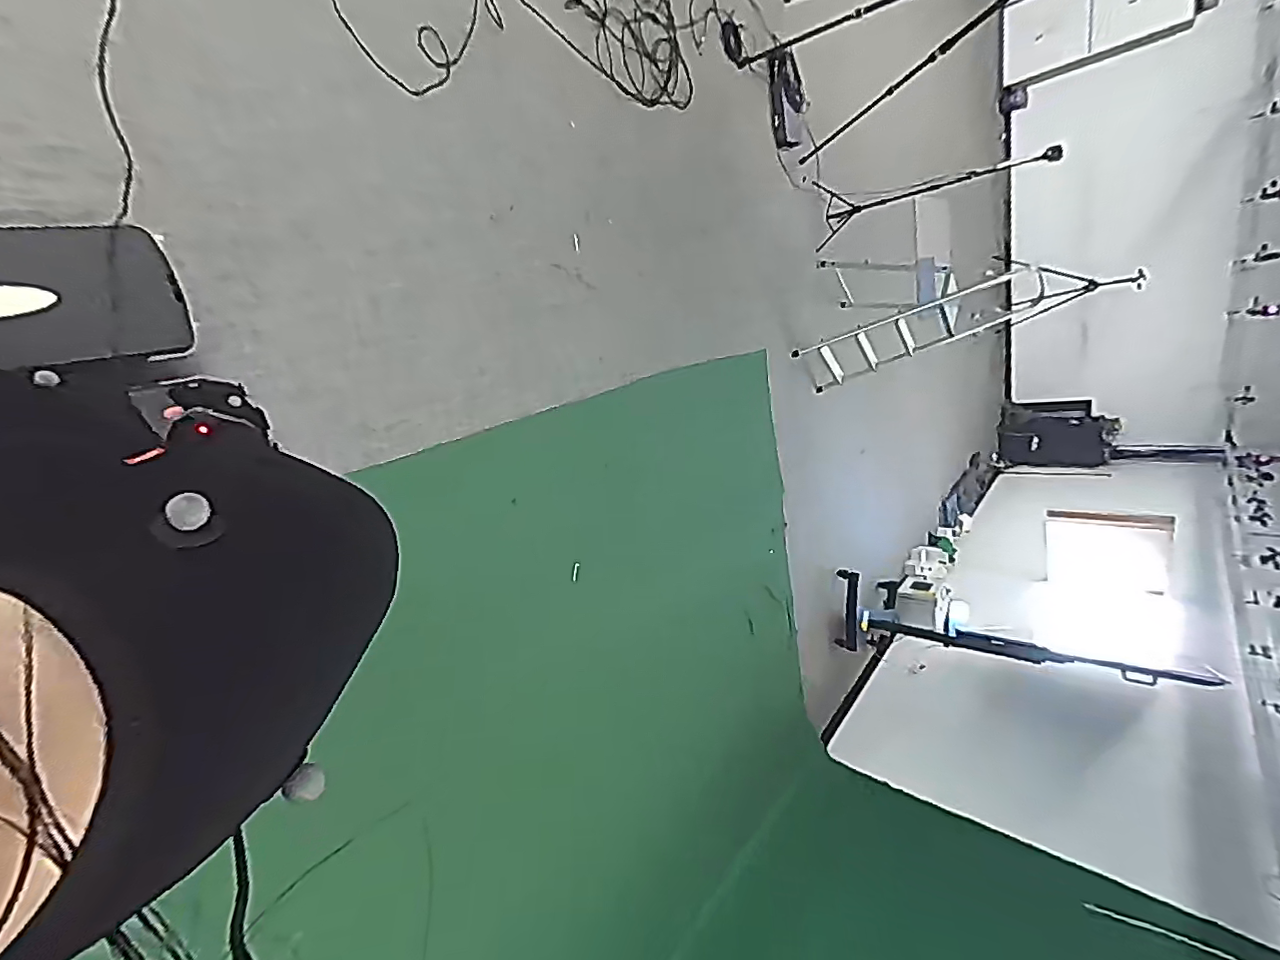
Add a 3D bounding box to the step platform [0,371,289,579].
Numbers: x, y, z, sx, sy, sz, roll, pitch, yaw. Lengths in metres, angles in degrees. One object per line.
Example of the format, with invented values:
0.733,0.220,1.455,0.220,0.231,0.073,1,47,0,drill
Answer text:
-1.058,0.009,0.971,0.684,0.204,0.286,-27,113,-44,step platform
